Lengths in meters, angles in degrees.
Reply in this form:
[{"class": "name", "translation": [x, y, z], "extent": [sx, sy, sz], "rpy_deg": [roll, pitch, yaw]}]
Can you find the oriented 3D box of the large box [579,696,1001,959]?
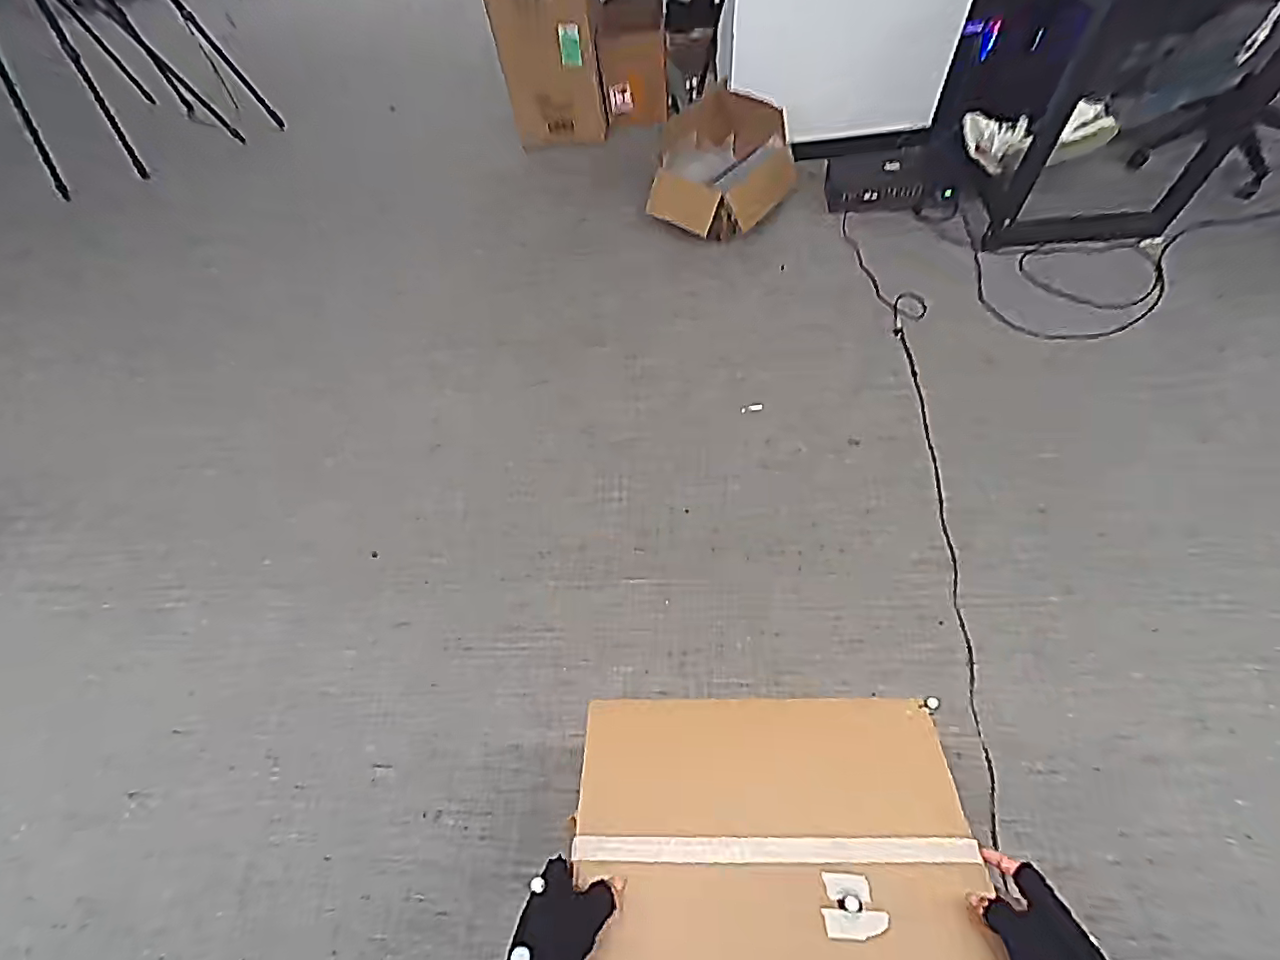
[{"class": "large box", "translation": [0.146, 0.492, 0.681], "extent": [0.408, 0.320, 0.320], "rpy_deg": [-2, 45, 3]}]
